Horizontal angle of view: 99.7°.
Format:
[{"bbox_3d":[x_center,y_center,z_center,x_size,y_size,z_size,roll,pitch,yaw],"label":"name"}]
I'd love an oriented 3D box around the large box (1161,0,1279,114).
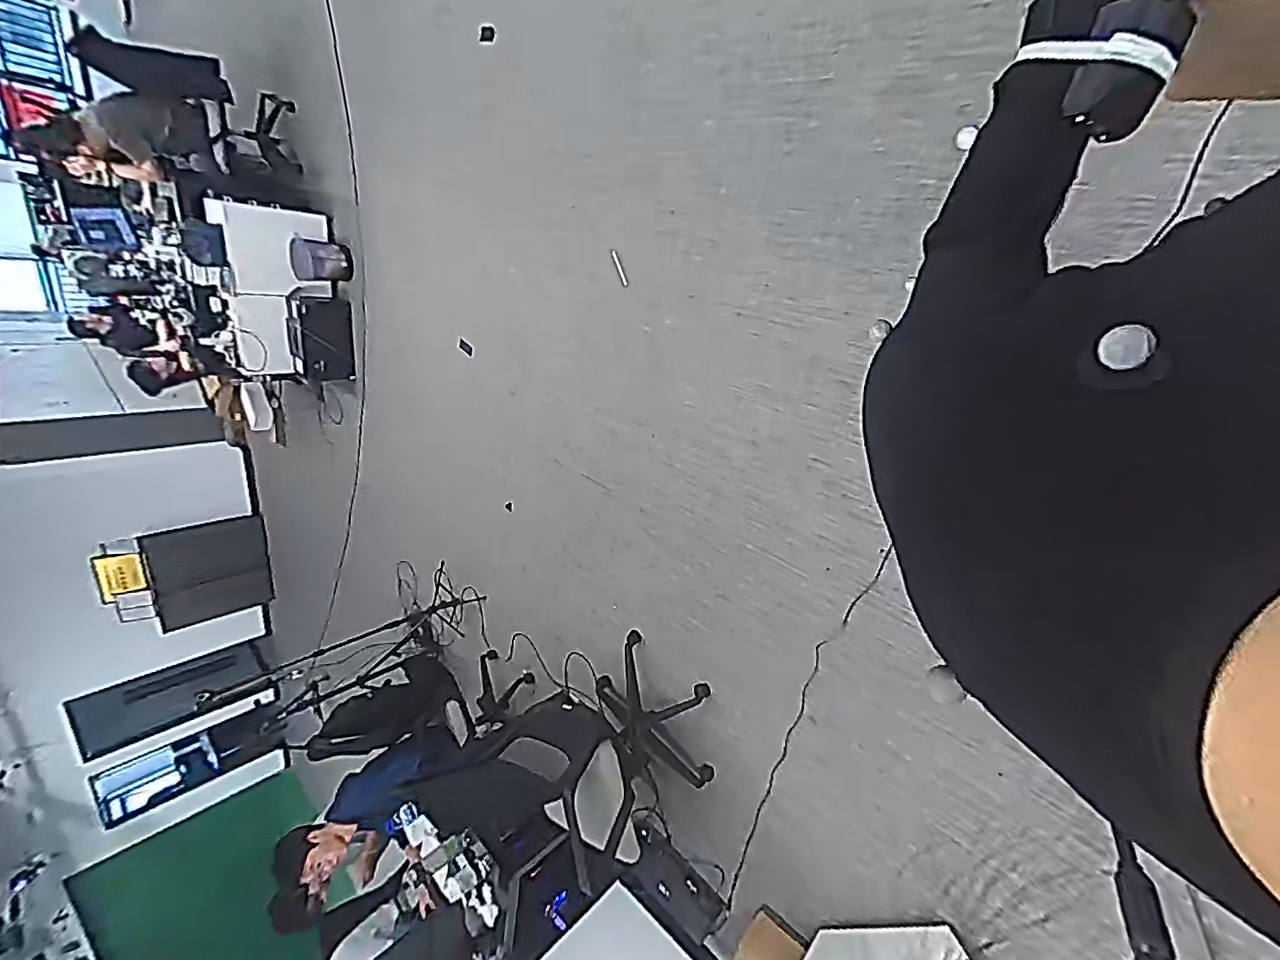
[{"bbox_3d":[0.586,-0.400,0.267,0.408,0.320,0.320,25,123,35],"label":"large box"}]
